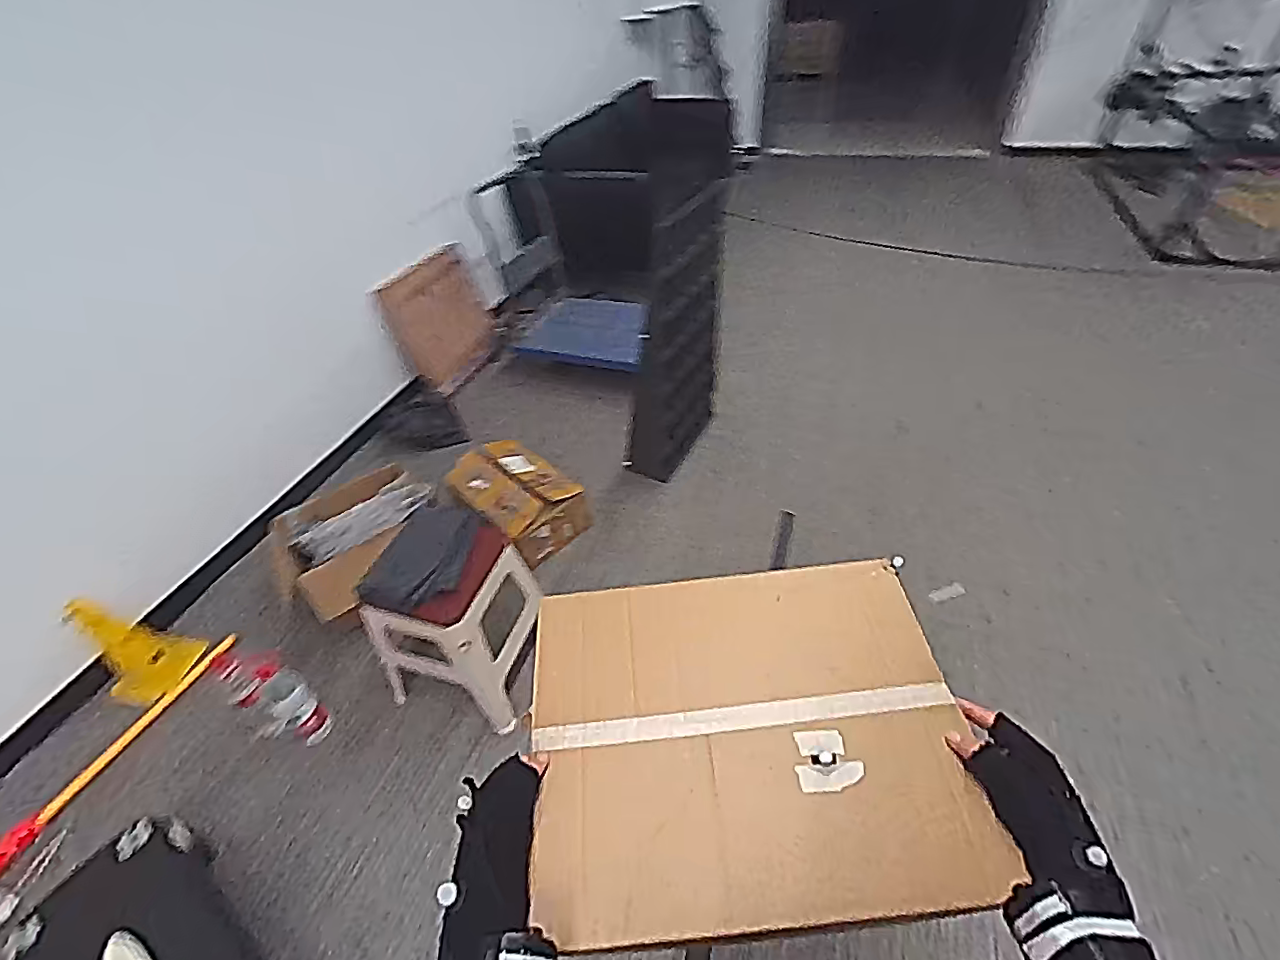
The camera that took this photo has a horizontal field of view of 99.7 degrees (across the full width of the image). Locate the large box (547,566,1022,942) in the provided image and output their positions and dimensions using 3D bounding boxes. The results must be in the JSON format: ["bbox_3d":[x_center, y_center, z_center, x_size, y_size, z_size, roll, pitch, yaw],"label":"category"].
[{"bbox_3d":[0.117,0.334,0.651,0.408,0.320,0.320,-6,49,1],"label":"large box"}]
